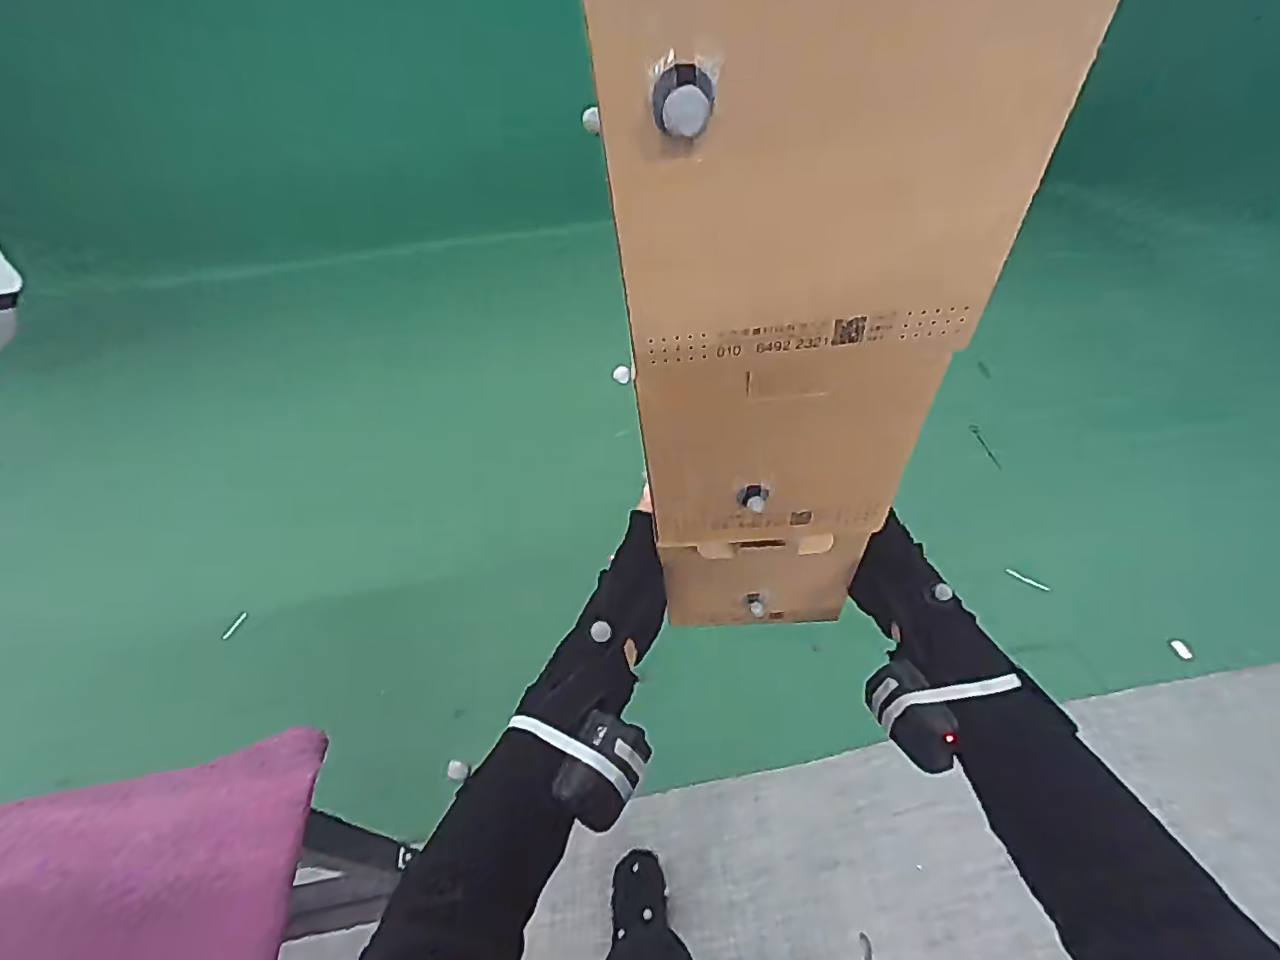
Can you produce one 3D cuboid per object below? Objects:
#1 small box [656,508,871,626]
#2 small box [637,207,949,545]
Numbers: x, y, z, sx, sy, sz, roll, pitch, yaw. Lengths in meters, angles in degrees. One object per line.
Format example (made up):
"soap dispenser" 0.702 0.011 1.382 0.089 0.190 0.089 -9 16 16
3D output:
"small box" 0.104 0.026 0.528 0.168 0.176 0.179 -3 50 6
"small box" 0.086 -0.072 0.399 0.168 0.176 0.179 -5 51 4
